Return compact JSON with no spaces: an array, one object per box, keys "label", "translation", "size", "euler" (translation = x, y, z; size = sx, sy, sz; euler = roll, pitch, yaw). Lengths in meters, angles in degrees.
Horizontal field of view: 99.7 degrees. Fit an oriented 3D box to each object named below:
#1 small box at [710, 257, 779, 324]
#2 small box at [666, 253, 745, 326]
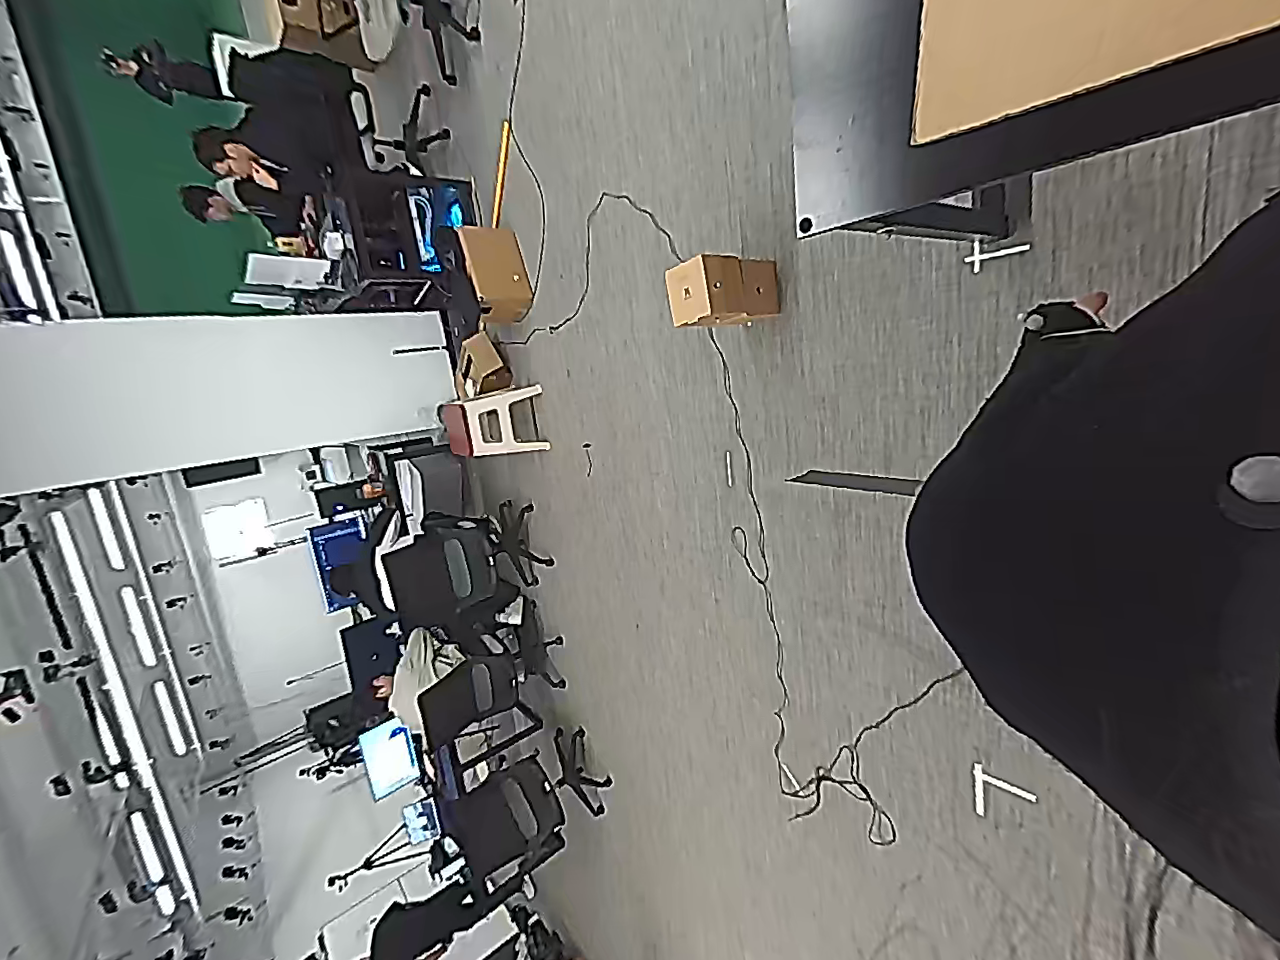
[{"label":"small box","translation":[0.334,-0.617,1.774],"size":[0.168,0.176,0.179],"euler":[3,106,52]},{"label":"small box","translation":[0.207,-0.587,1.677],"size":[0.168,0.176,0.179],"euler":[-2,100,52]}]
